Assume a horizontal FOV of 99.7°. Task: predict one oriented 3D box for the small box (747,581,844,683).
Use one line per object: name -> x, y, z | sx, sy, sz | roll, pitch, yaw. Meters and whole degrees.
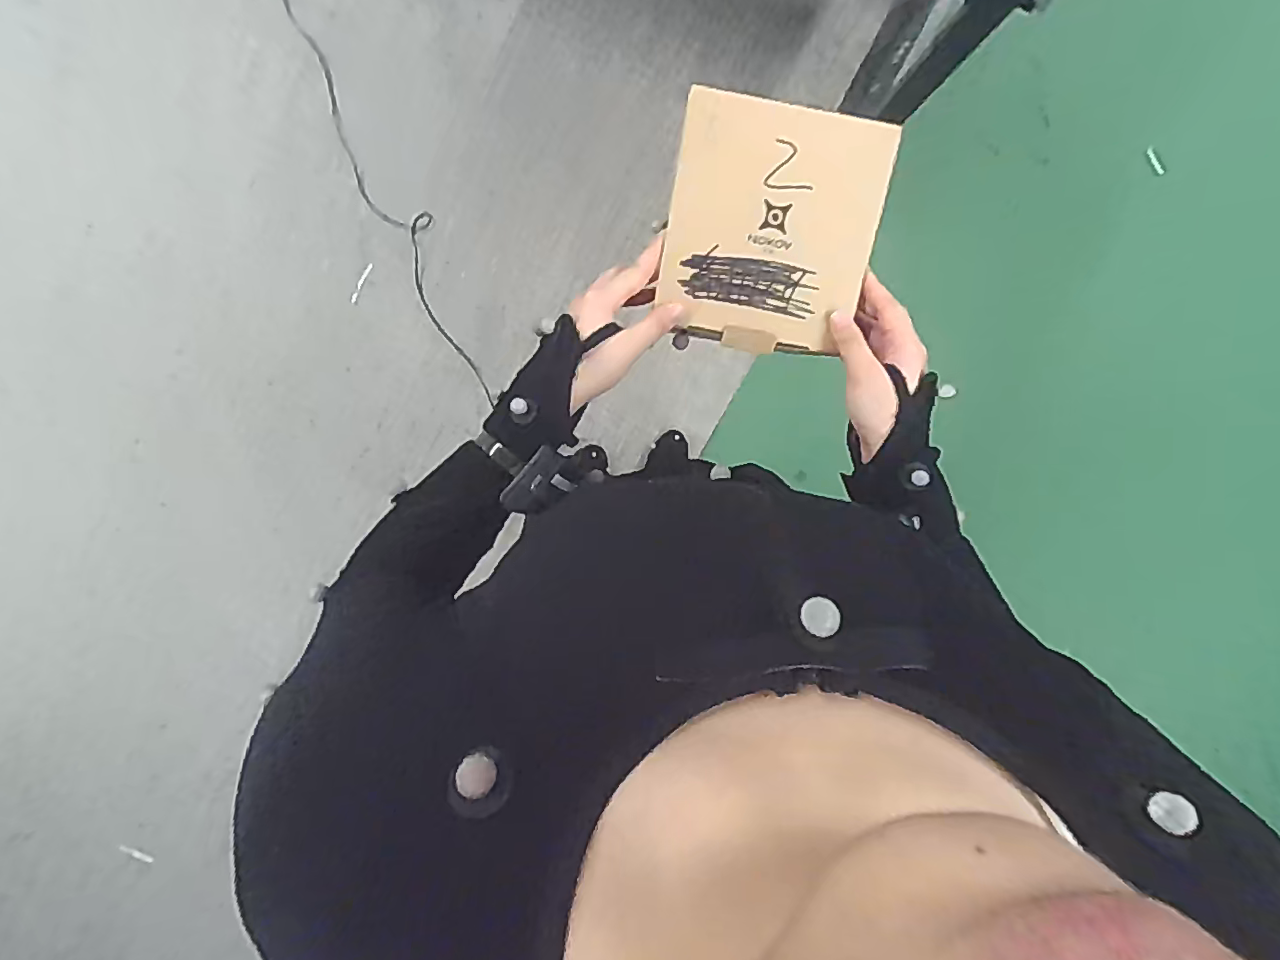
small box -> 0.408, 0.403, 1.461 | 0.168, 0.176, 0.179 | 32, 95, -5
